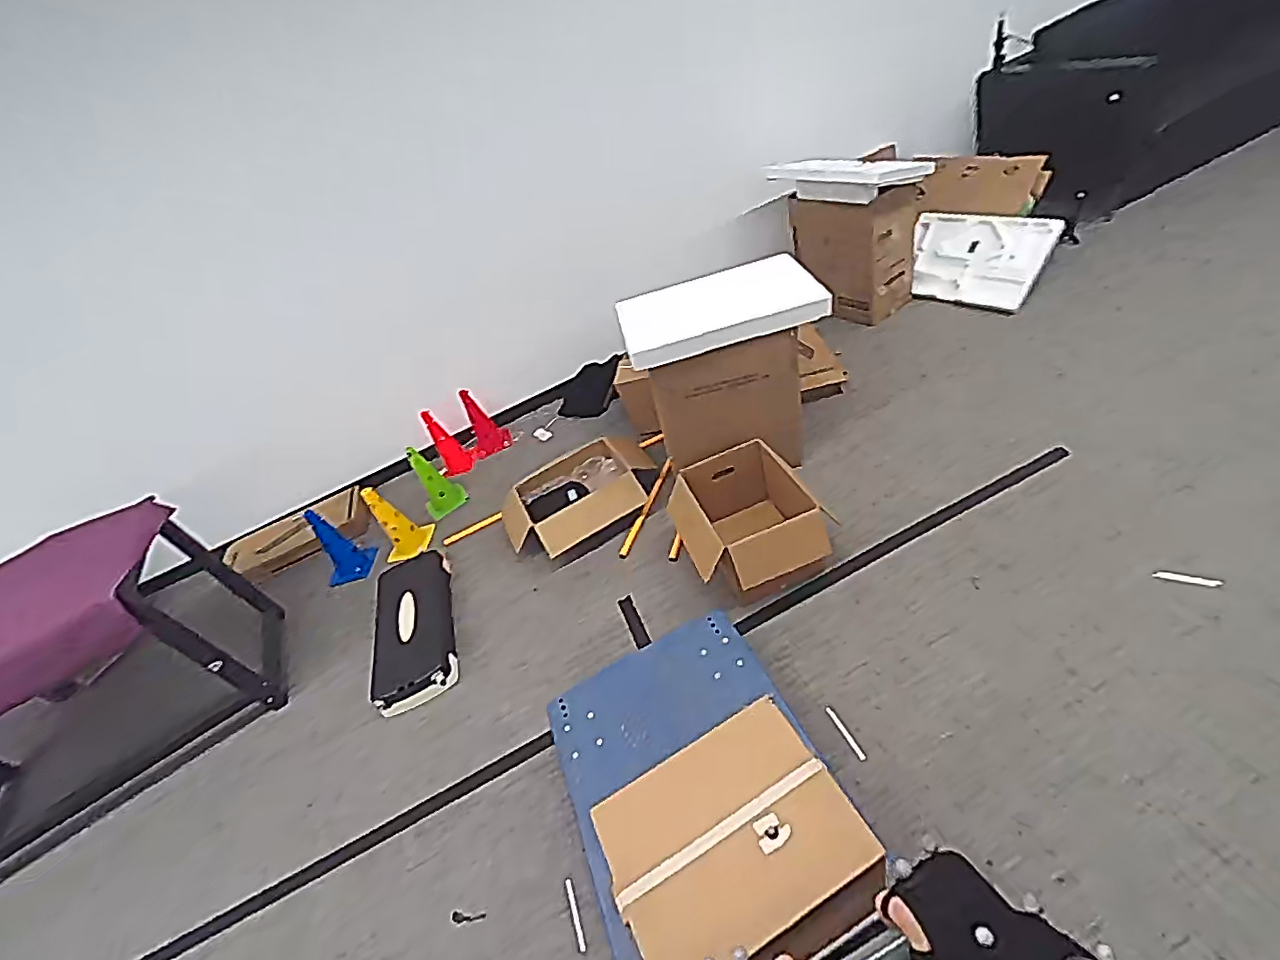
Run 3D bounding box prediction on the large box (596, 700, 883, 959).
[{"bbox_3d":[0.188,0.713,1.013,0.408,0.320,0.320,-28,40,-10],"label":"large box"}]
